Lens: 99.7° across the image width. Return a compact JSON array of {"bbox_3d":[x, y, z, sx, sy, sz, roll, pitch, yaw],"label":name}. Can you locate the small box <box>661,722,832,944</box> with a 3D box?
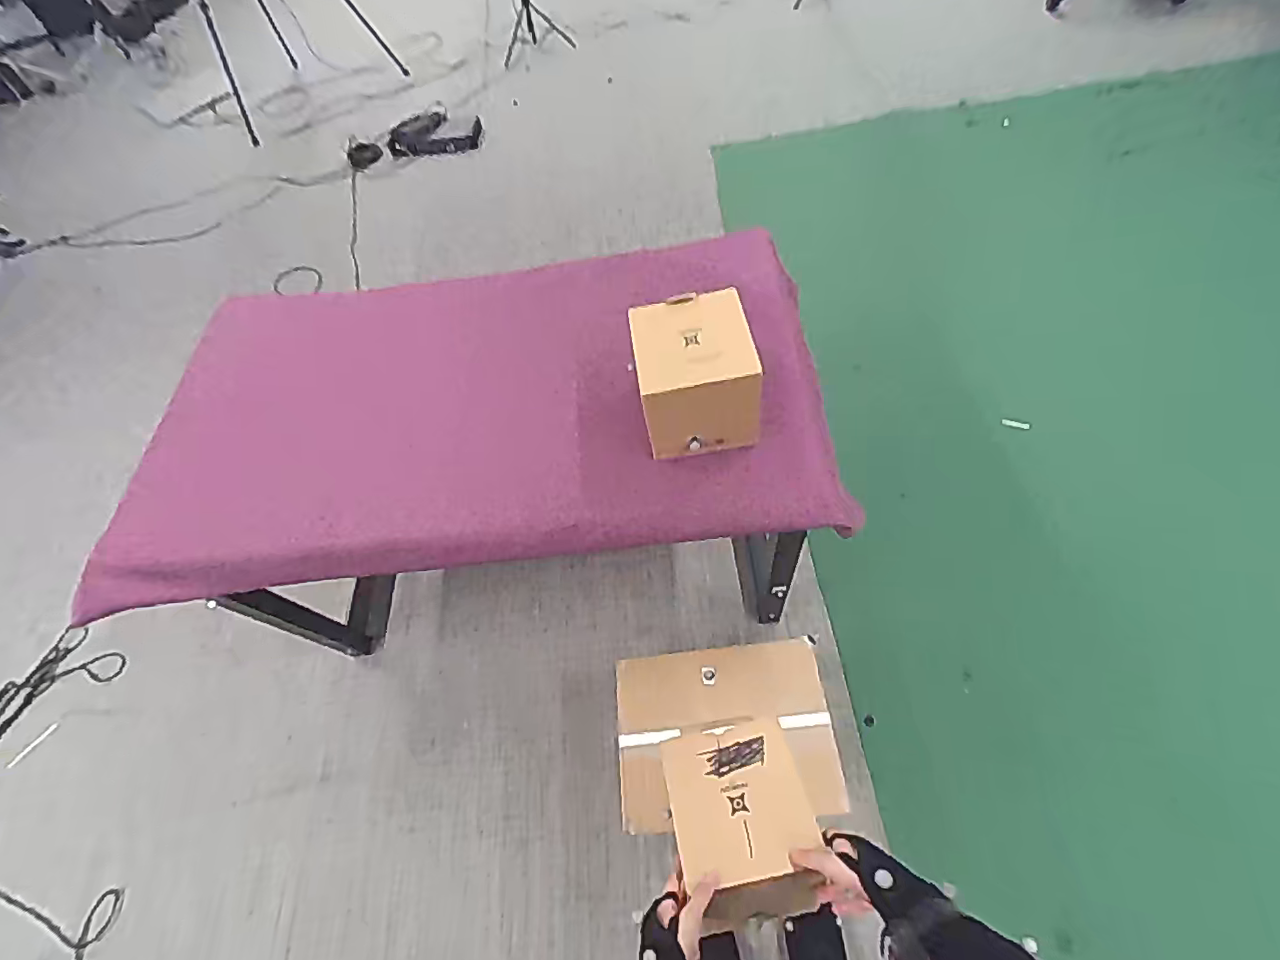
[{"bbox_3d":[0.125,0.448,0.692,0.168,0.176,0.179,-11,37,-2],"label":"small box"}]

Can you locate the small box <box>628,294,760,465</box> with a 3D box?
[{"bbox_3d":[0.080,-0.148,0.823,0.168,0.176,0.179,-10,57,4],"label":"small box"}]
